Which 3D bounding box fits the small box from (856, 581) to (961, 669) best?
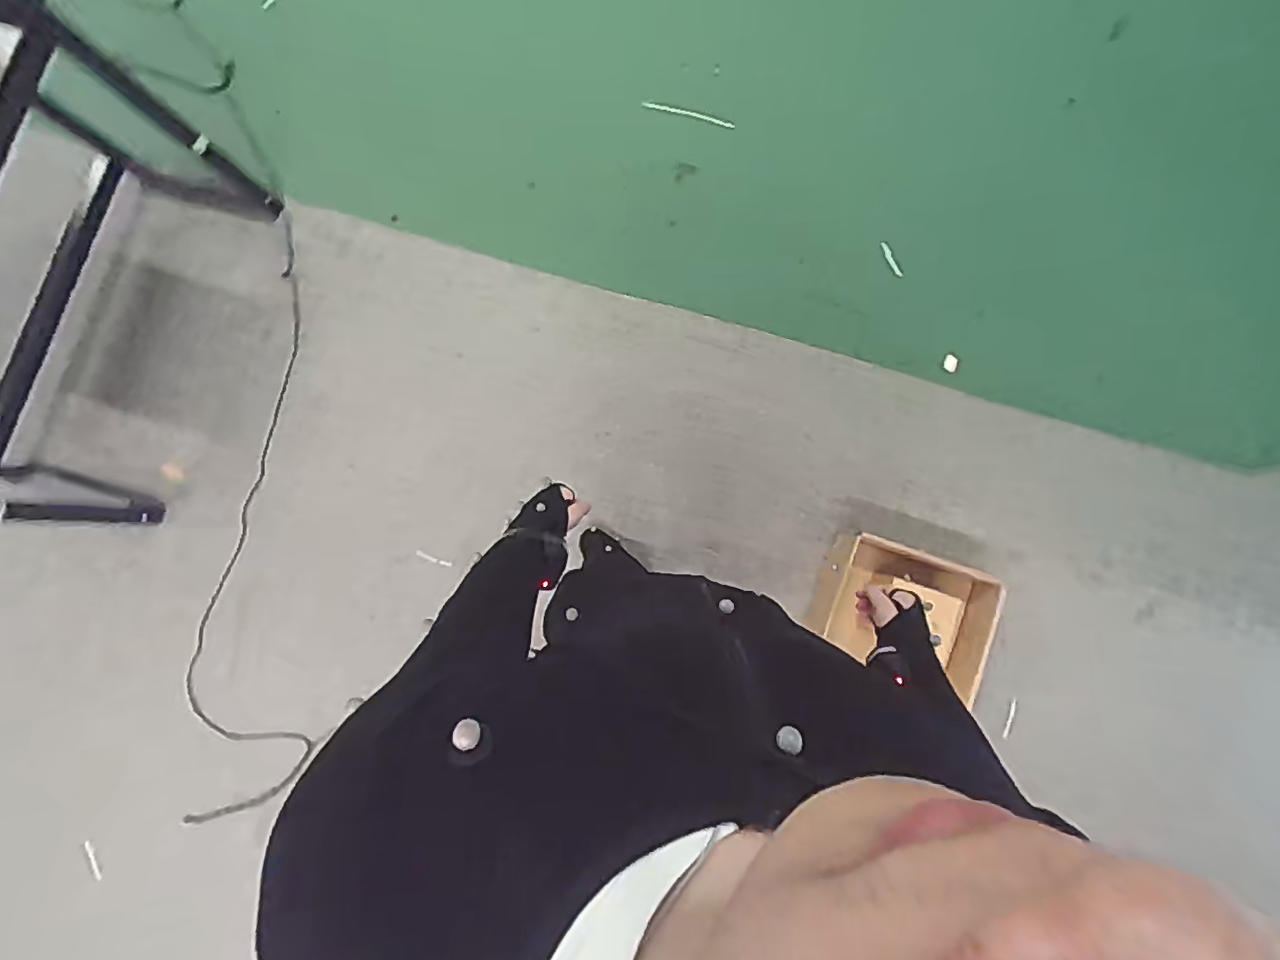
[{"bbox_3d":[0.700,0.375,1.431,0.179,0.176,0.168,20,86,6],"label":"small box"}]
